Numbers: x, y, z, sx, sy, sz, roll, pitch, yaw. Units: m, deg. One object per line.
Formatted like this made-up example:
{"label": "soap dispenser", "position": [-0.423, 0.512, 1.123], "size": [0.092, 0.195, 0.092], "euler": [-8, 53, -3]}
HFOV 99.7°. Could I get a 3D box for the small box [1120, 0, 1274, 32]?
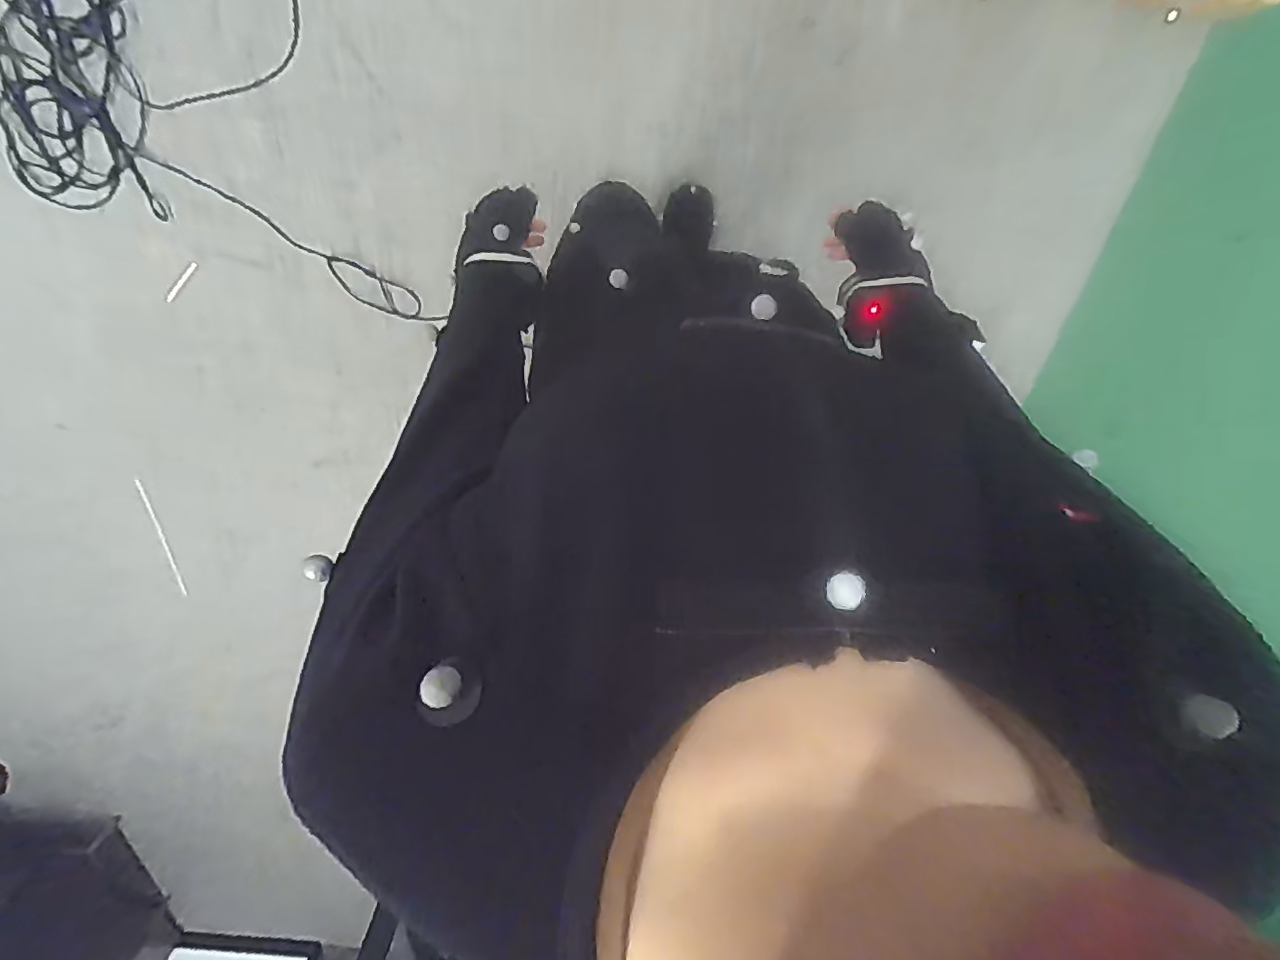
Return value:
{"label": "small box", "position": [1.028, -0.942, 0.965], "size": [0.168, 0.176, 0.179], "euler": [8, 120, -2]}
